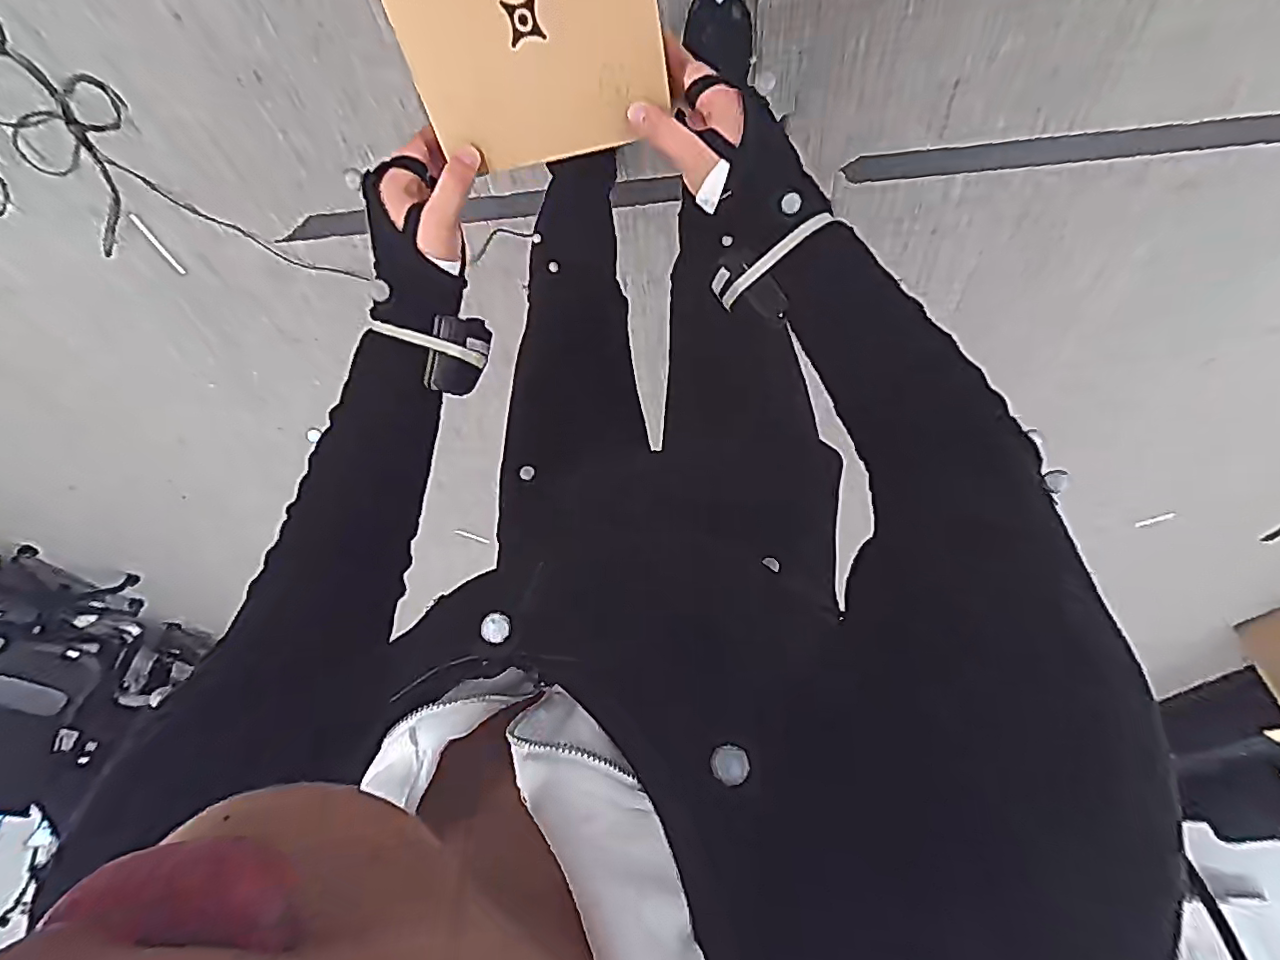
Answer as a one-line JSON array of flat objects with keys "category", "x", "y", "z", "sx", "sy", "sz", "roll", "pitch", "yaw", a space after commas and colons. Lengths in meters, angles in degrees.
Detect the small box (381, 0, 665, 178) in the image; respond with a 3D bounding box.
[{"category": "small box", "x": -0.076, "y": -0.351, "z": 0.385, "sx": 0.168, "sy": 0.176, "sz": 0.179, "roll": -9, "pitch": 136, "yaw": 7}]
